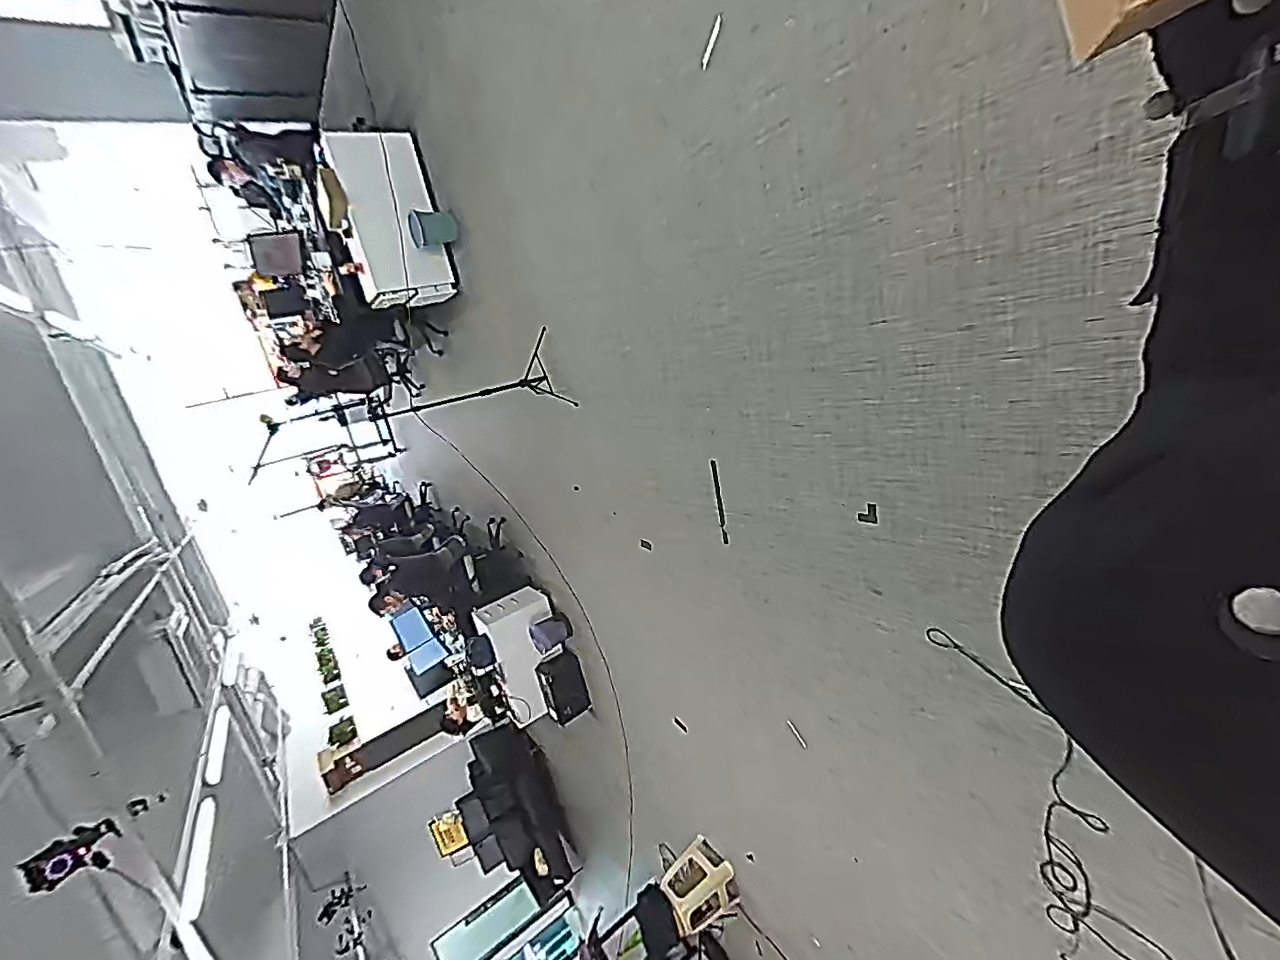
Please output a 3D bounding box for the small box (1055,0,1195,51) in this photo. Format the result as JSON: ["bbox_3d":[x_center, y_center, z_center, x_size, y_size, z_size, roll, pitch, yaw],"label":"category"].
[{"bbox_3d":[0.249,-0.312,0.204,0.168,0.176,0.179,-15,108,40],"label":"small box"}]
